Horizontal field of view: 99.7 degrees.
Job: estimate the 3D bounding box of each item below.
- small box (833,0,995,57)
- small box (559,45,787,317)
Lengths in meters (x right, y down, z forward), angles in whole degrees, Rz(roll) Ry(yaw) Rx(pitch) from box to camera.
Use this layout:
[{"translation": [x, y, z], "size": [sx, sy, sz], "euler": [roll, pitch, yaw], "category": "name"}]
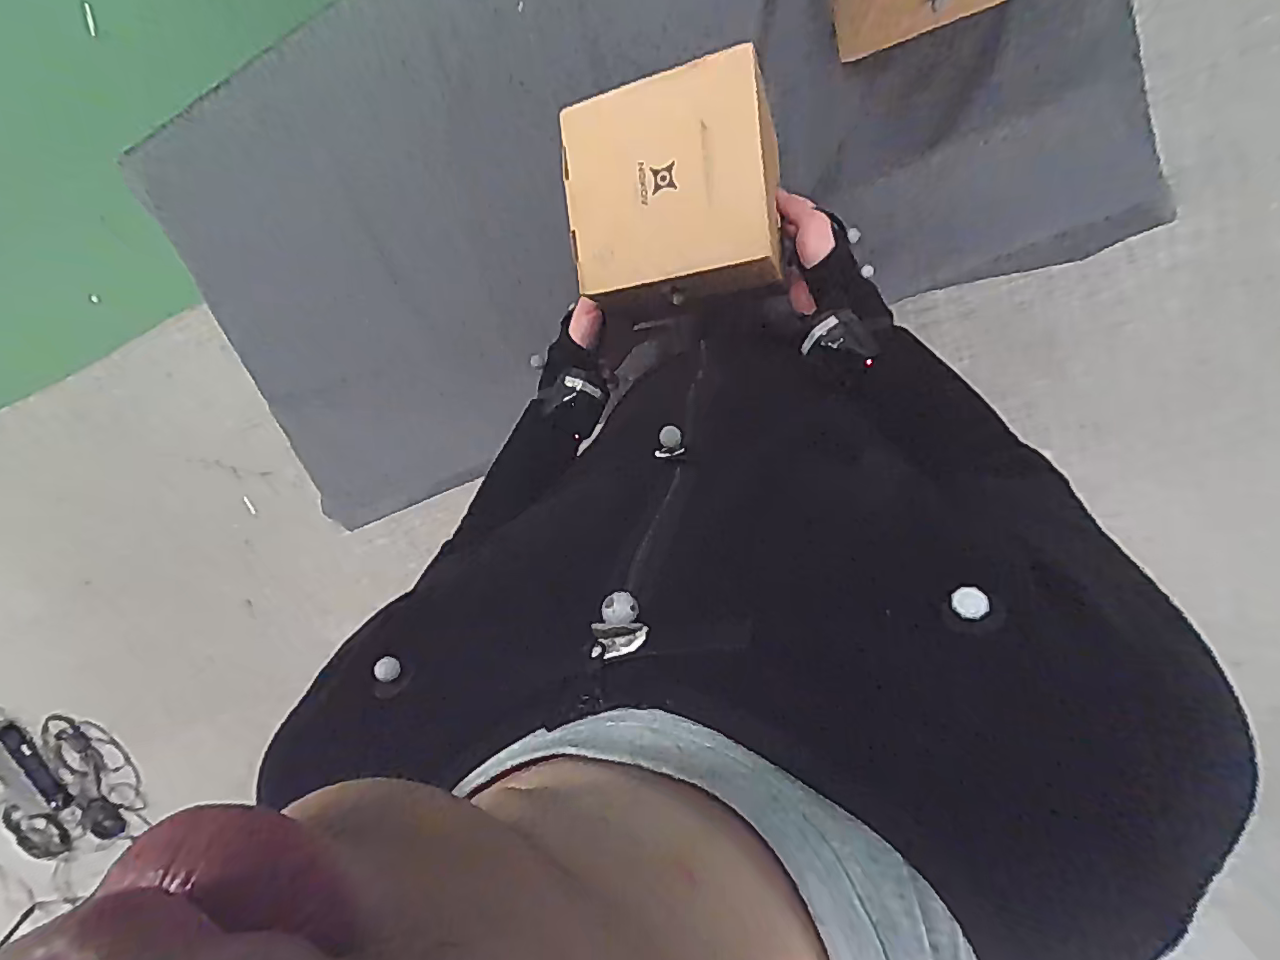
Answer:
[{"translation": [0.272, -0.538, 0.498], "size": [0.179, 0.176, 0.168], "euler": [-12, 107, 14], "category": "small box"}, {"translation": [0.043, -0.266, 0.535], "size": [0.179, 0.176, 0.168], "euler": [-5, 97, 20], "category": "small box"}]
